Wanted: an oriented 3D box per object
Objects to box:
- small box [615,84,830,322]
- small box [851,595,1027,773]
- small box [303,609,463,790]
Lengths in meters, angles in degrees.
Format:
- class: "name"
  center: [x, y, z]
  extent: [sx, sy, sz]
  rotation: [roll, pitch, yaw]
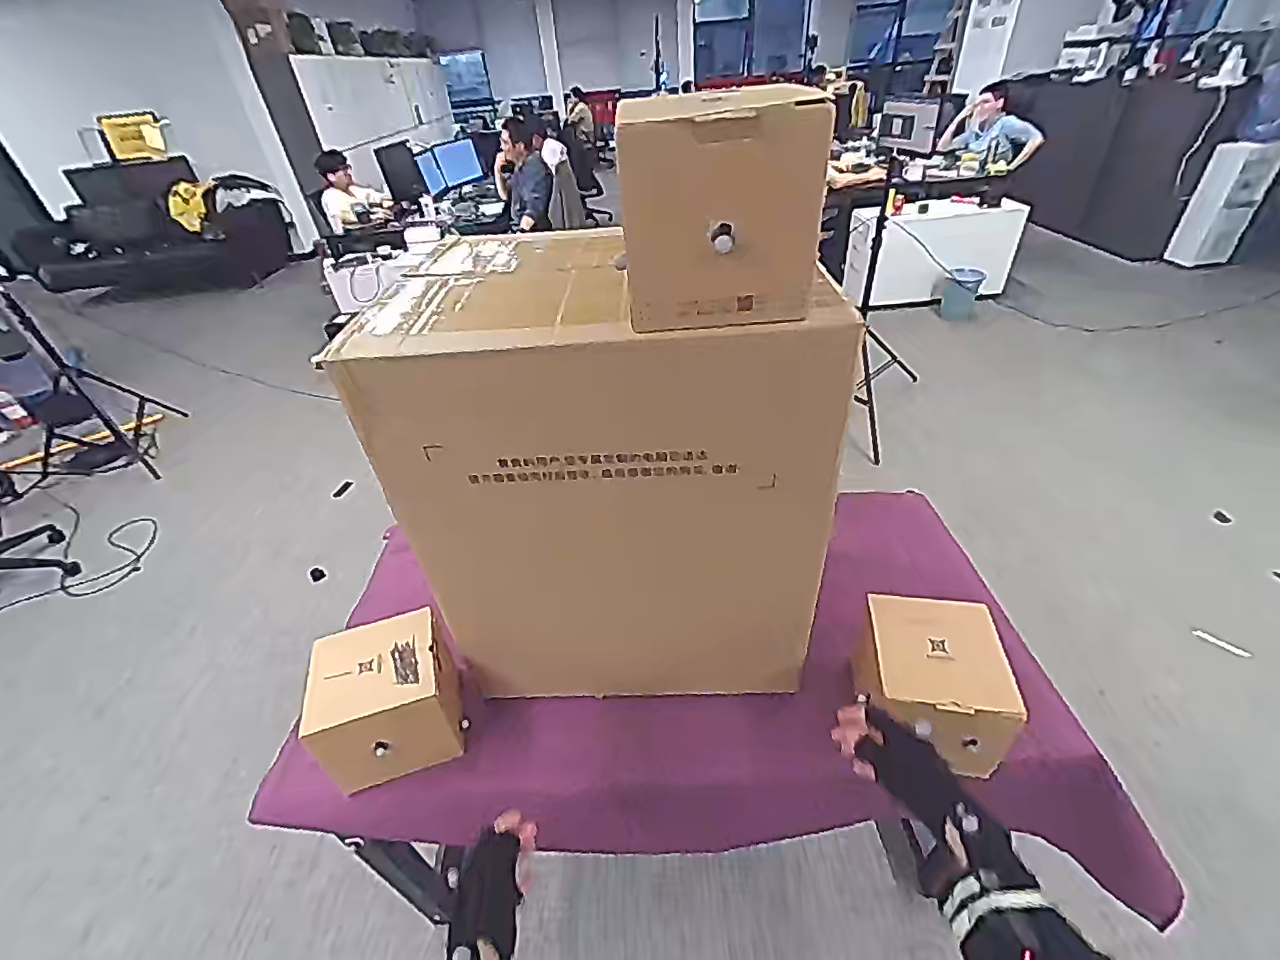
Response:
- class: "small box"
  center: [0.070, -0.260, 0.518]
  extent: [0.168, 0.176, 0.179]
  rotation: [-4, 39, 3]
- class: "small box"
  center: [0.412, 0.293, 0.781]
  extent: [0.168, 0.176, 0.179]
  rotation: [3, 37, 10]
- class: "small box"
  center: [-0.376, 0.332, 0.825]
  extent: [0.179, 0.176, 0.168]
  rotation: [-14, 38, -14]
